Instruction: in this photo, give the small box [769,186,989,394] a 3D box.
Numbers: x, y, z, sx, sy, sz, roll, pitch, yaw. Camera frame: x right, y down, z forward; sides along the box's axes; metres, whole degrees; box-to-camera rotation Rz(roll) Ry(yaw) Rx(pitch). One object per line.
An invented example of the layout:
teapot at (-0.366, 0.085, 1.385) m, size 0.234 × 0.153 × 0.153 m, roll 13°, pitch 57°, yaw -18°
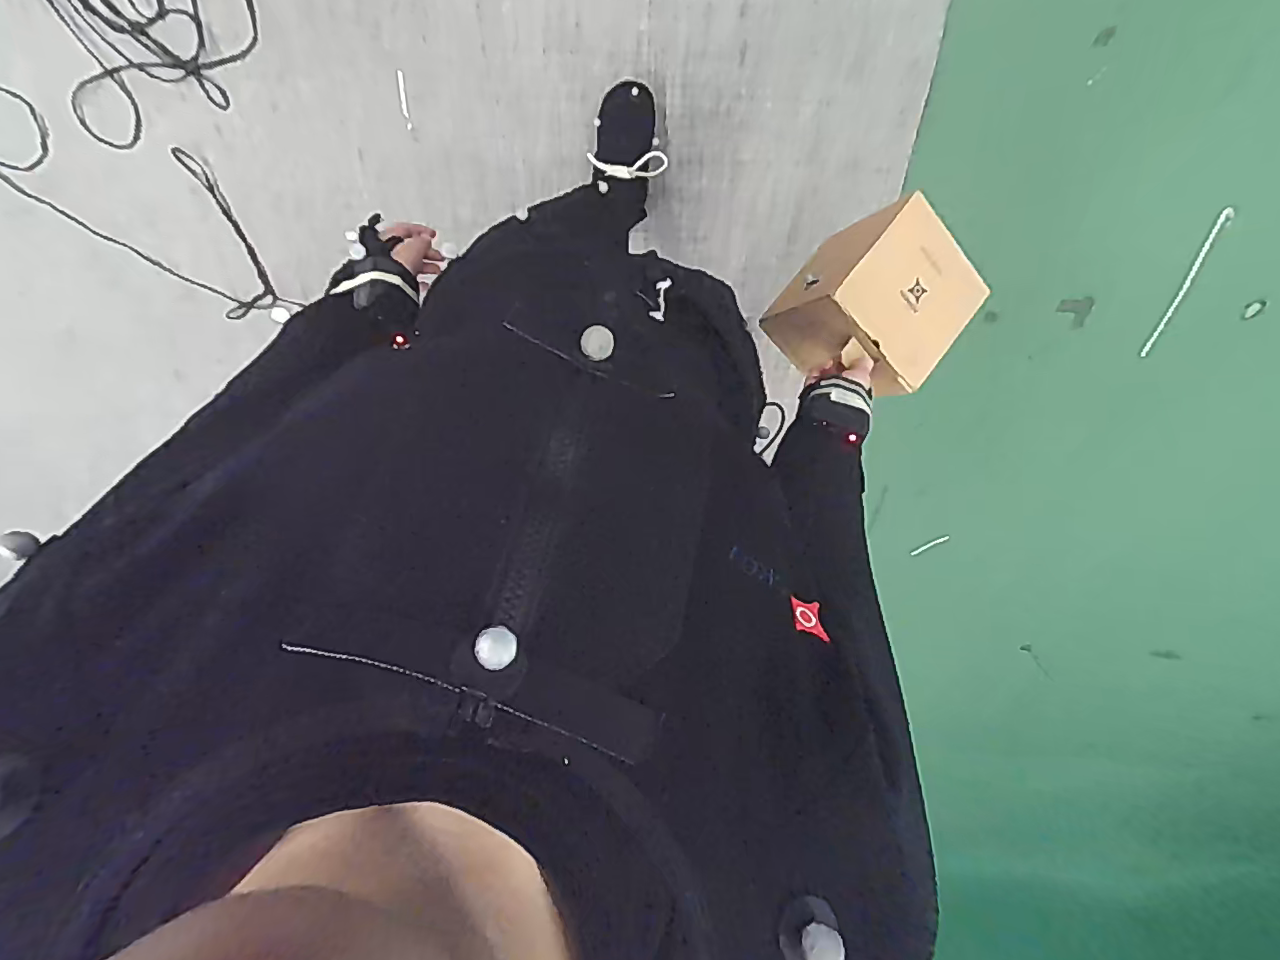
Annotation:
small box at (0.297, -0.229, 0.707) m, size 0.168 × 0.176 × 0.179 m, roll 42°, pitch 80°, yaw -18°
